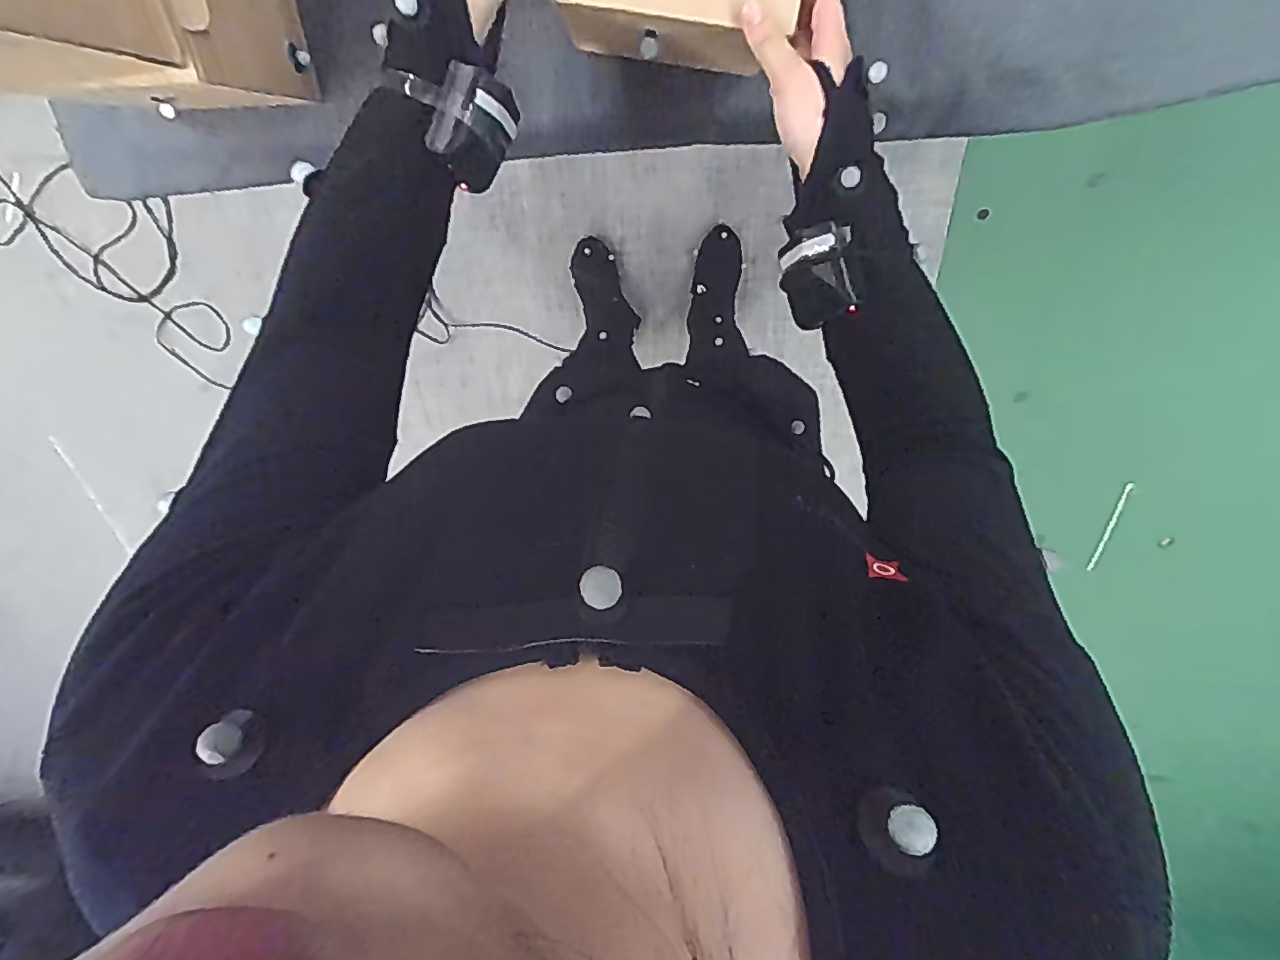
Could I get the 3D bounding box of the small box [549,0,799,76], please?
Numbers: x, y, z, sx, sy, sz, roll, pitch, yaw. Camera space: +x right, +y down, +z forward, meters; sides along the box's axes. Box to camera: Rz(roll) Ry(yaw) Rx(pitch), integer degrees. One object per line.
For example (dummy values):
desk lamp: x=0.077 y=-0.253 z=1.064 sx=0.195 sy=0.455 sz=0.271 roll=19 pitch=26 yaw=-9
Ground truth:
small box: x=0.034 y=-0.427 z=0.408 sx=0.179 sy=0.176 sz=0.168 roll=7 pitch=120 yaw=-1

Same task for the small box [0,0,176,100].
small box: x=-0.438 y=-0.332 z=0.307 sx=0.179 sy=0.176 sz=0.168 roll=-4 pitch=120 yaw=6

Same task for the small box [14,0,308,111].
small box: x=-0.414 y=-0.412 z=0.447 sx=0.179 sy=0.176 sz=0.168 roll=0 pitch=121 yaw=4
